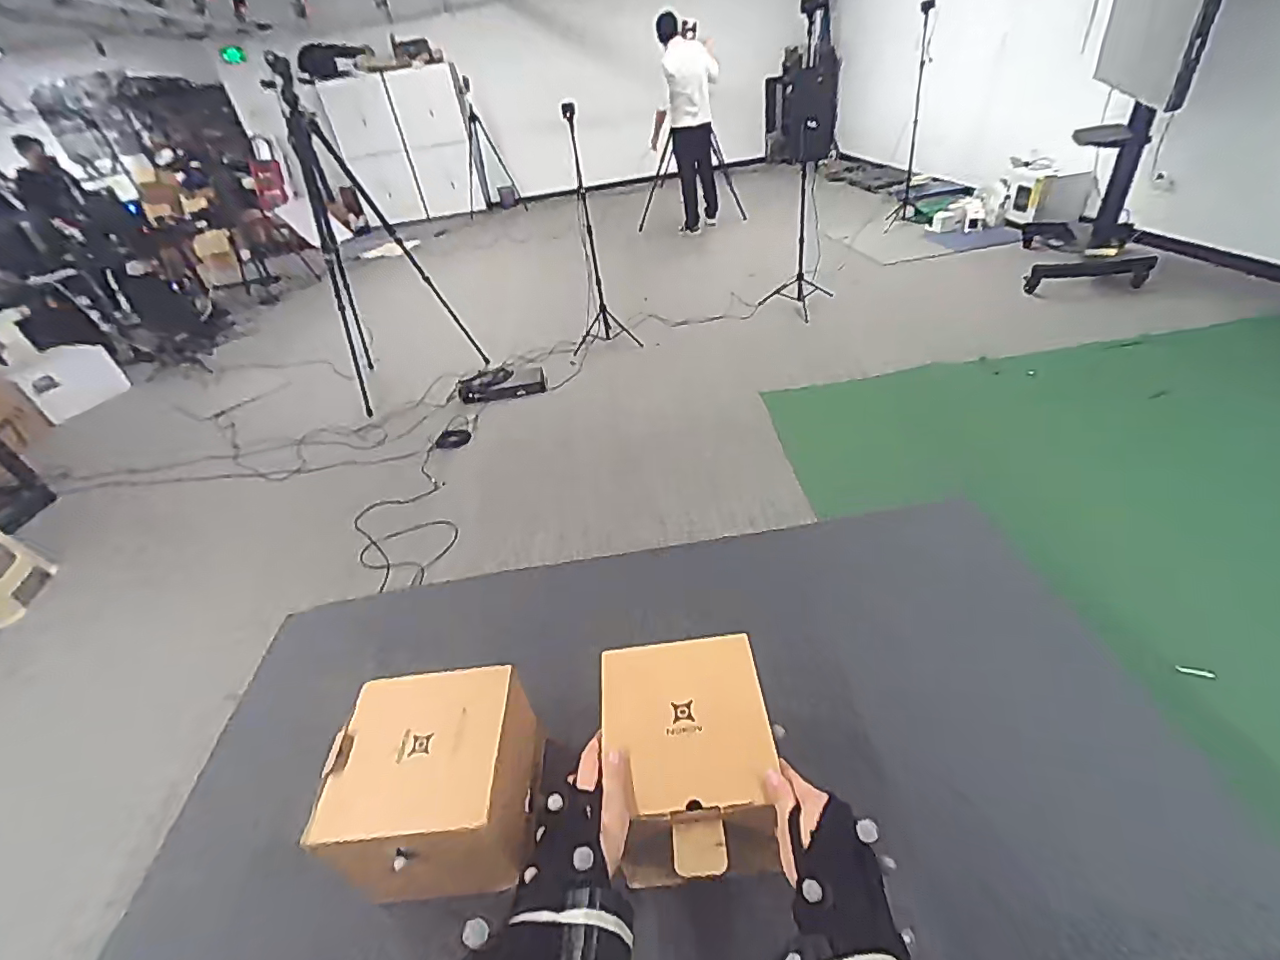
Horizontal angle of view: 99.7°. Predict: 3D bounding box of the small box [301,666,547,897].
[{"bbox_3d":[-0.214,0.331,0.594,0.179,0.176,0.168,-7,37,3],"label":"small box"}]
